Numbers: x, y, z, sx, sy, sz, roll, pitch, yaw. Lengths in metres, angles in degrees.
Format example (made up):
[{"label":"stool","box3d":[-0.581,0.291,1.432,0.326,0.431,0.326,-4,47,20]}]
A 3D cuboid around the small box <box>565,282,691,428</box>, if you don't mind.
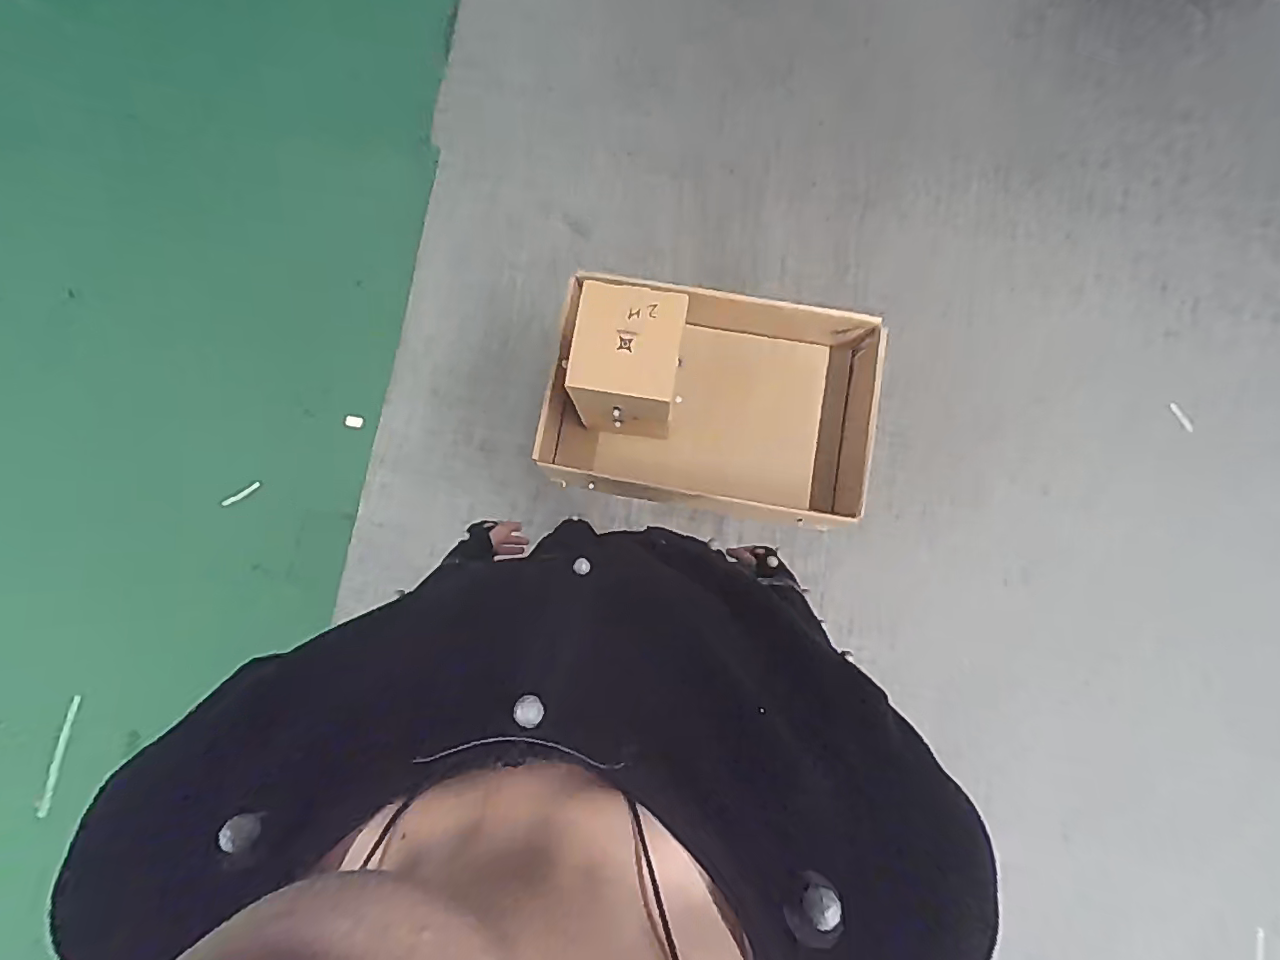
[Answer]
[{"label":"small box","box3d":[-0.015,-0.195,0.892,0.168,0.176,0.179,10,82,3]}]
